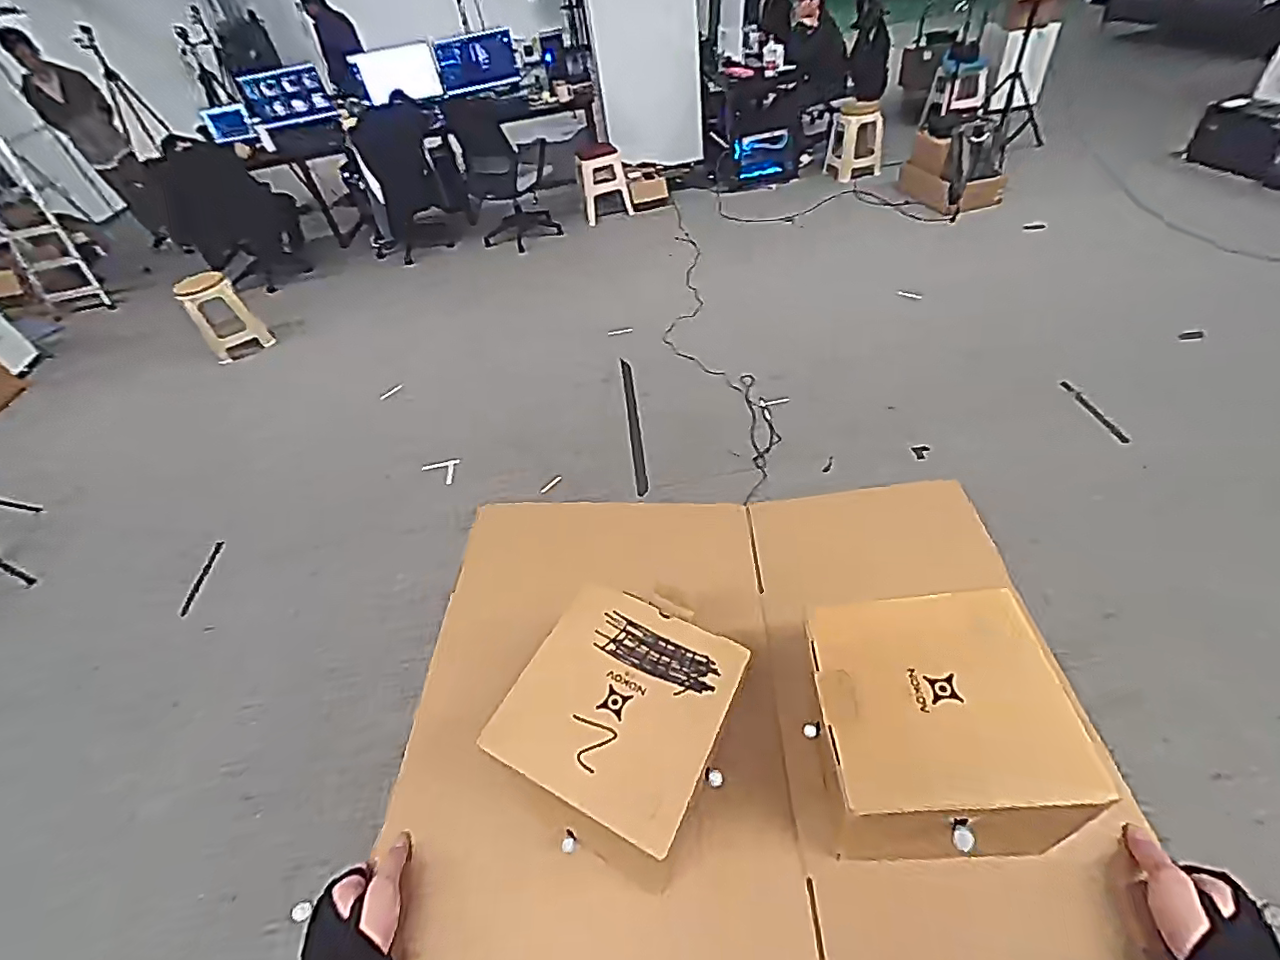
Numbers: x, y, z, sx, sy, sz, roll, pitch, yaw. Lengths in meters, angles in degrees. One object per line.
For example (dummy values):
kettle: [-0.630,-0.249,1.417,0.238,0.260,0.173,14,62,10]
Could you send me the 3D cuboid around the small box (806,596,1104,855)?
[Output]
small box: [0.254,0.227,0.494,0.179,0.176,0.168,-9,45,10]
